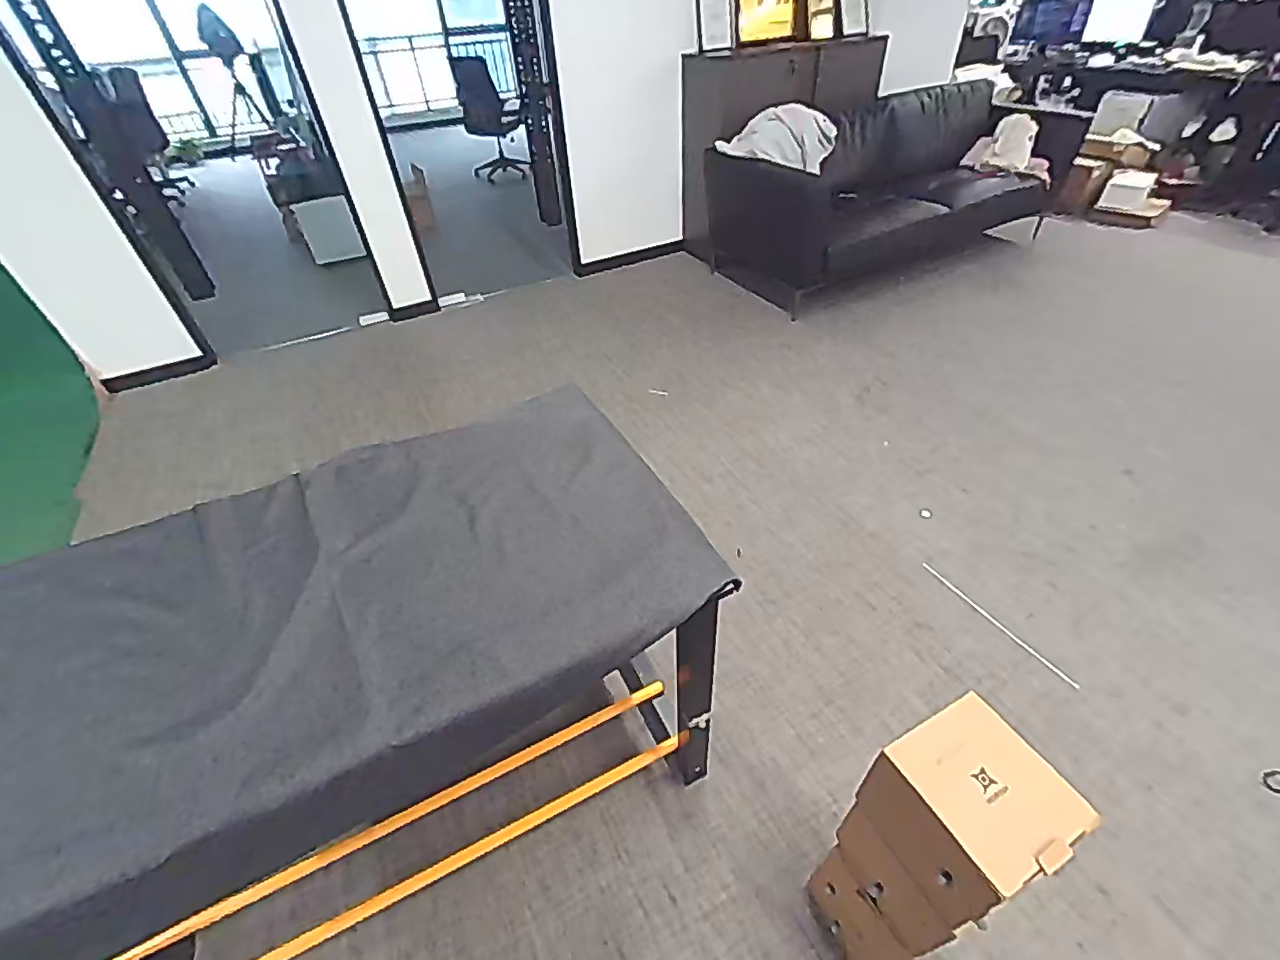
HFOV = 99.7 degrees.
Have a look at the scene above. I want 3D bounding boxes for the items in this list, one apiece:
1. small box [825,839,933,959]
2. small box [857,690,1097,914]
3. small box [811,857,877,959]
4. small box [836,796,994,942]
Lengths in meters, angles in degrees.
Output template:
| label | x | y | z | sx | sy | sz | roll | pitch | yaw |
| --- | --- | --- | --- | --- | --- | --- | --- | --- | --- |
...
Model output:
| label | x | y | z | sx | sy | sz | roll | pitch | yaw |
| --- | --- | --- | --- | --- | --- | --- | --- | --- | --- |
| small box | 0.433 | 0.670 | 0.907 | 0.179 | 0.176 | 0.168 | -21 | 45 | -20 |
| small box | 0.415 | 0.418 | 0.700 | 0.168 | 0.176 | 0.179 | -21 | 44 | -19 |
| small box | 0.450 | 0.786 | 1.021 | 0.179 | 0.176 | 0.168 | -19 | 43 | -18 |
| small box | 0.424 | 0.542 | 0.803 | 0.168 | 0.176 | 0.179 | -20 | 45 | -19 |
